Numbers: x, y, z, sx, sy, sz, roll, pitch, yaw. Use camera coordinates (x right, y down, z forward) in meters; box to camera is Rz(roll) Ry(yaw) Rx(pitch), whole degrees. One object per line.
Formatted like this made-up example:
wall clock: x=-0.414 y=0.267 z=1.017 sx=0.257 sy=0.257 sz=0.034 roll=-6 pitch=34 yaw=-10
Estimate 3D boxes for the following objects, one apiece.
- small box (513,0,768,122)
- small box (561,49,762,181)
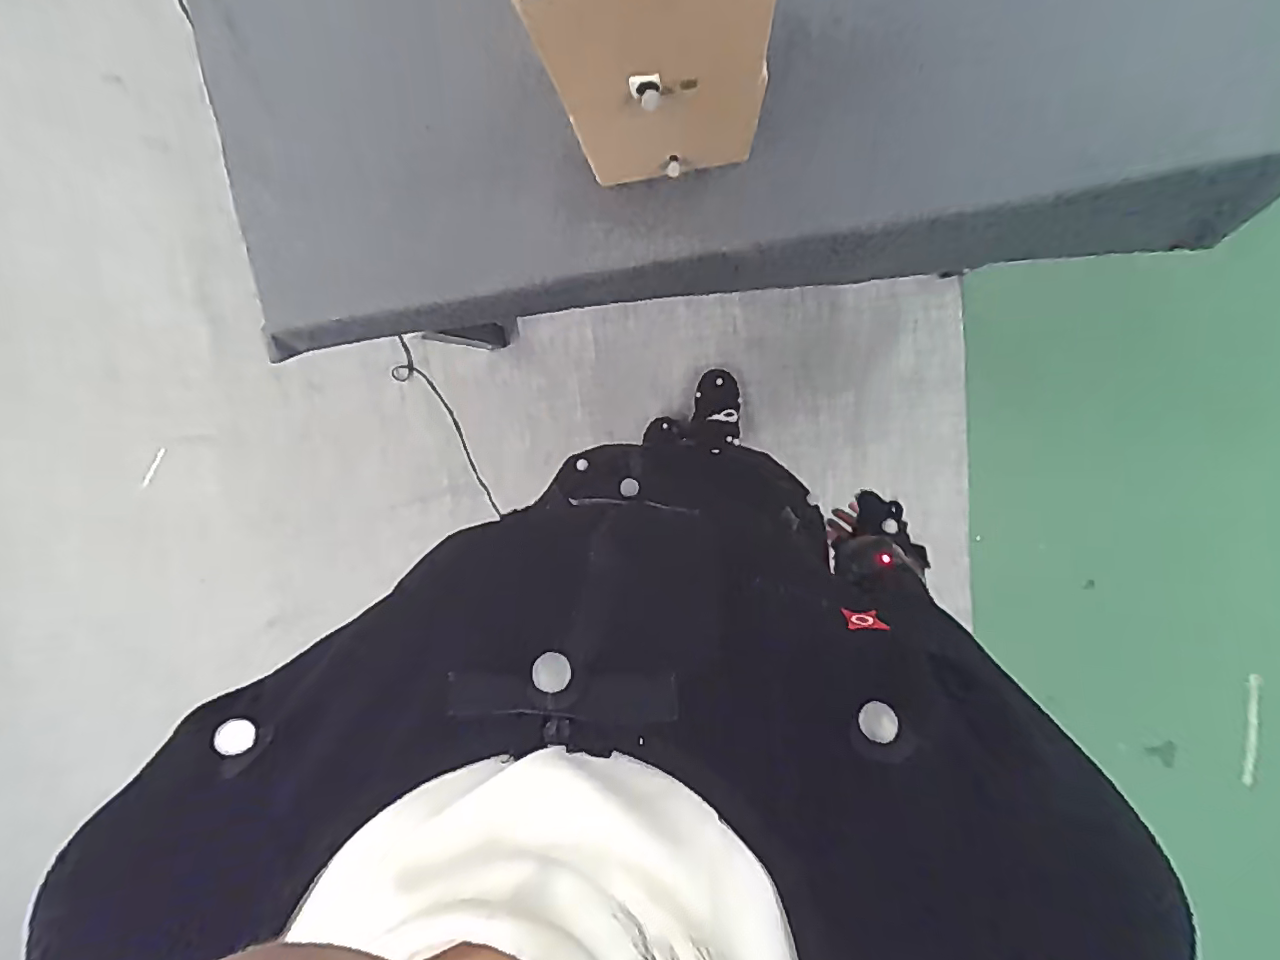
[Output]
small box: x=-0.003 y=-0.394 z=0.376 sx=0.168 sy=0.176 sz=0.179 roll=-7 pitch=100 yaw=9
small box: x=0.016 y=-0.422 z=0.535 sx=0.179 sy=0.176 sz=0.168 roll=-6 pitch=99 yaw=7
